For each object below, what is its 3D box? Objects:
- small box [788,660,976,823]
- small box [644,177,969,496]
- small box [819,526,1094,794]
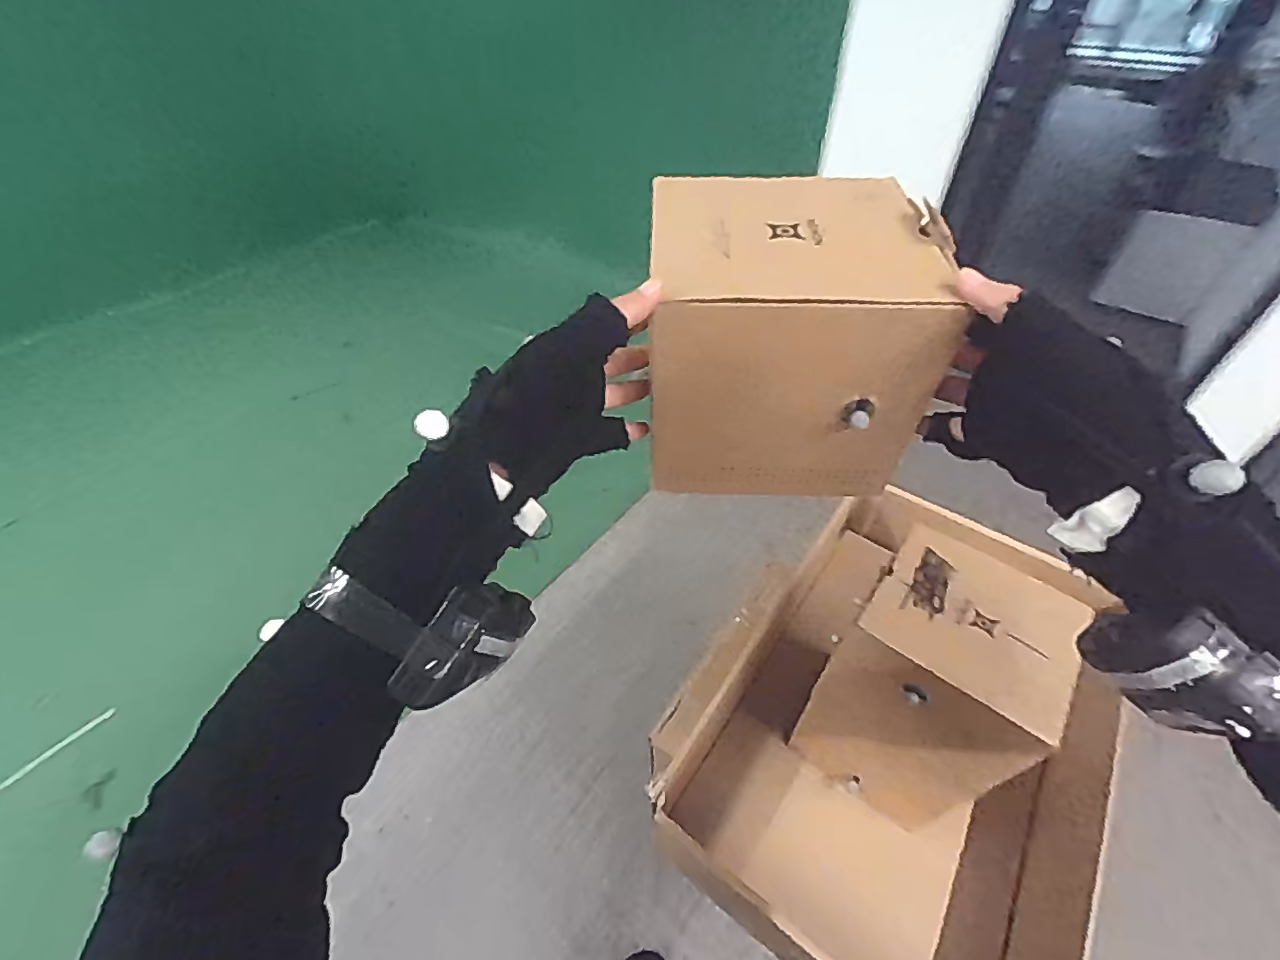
[{"bbox_3d":[0.316,0.300,0.688,0.179,0.176,0.168,30,52,24],"label":"small box"},{"bbox_3d":[0.093,-0.100,0.399,0.179,0.176,0.168,-1,49,2],"label":"small box"},{"bbox_3d":[0.315,0.188,0.567,0.179,0.176,0.168,32,53,26],"label":"small box"}]
